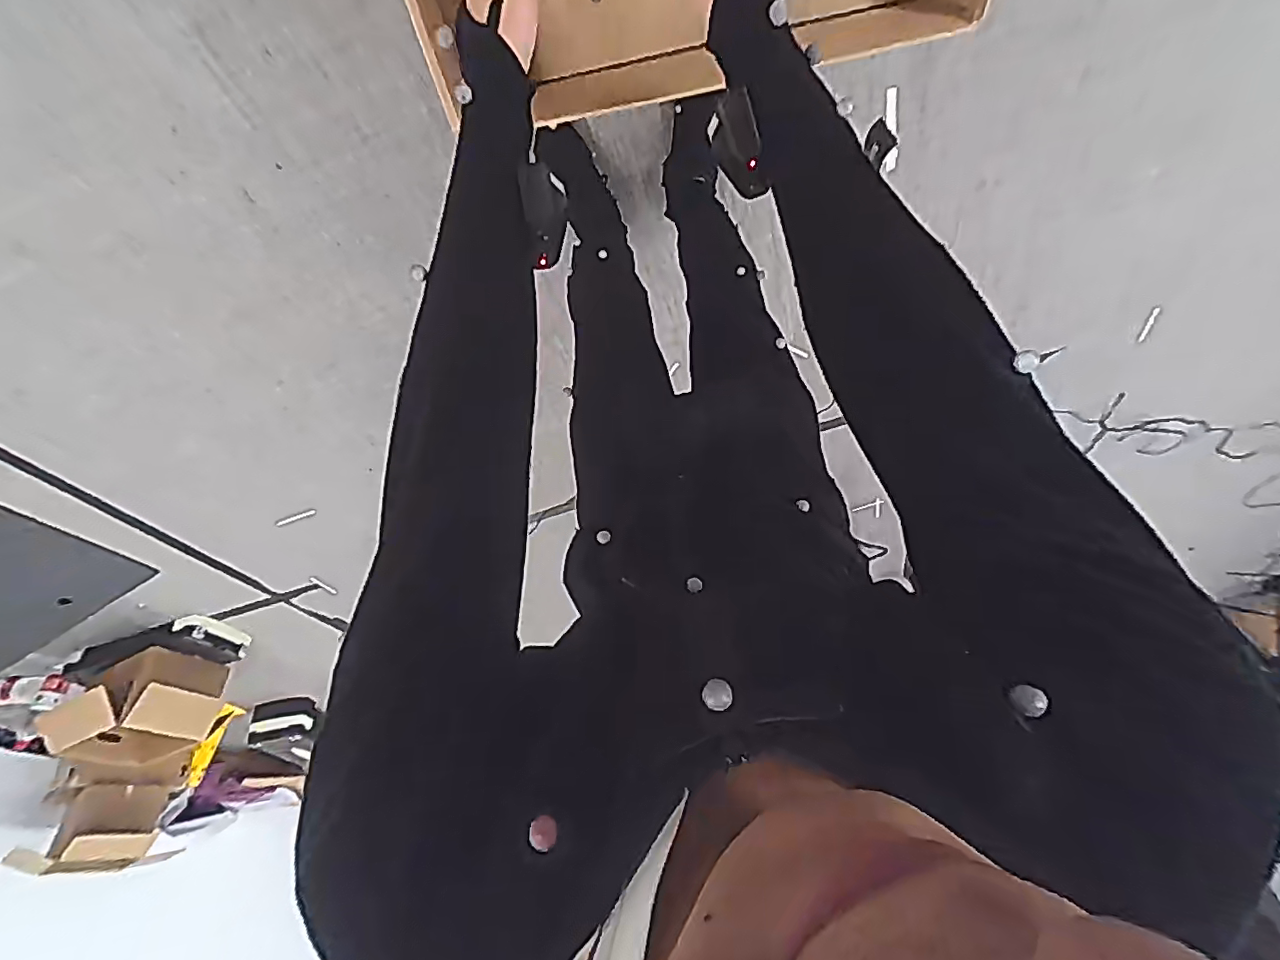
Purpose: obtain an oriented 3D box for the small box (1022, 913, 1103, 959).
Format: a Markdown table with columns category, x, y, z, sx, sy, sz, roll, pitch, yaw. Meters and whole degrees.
| category | x | y | z | sx | sy | sz | roll | pitch | yaw |
| --- | --- | --- | --- | --- | --- | --- | --- | --- | --- |
| small box | 1.505 | 1.662 | 1.924 | 0.179 | 0.176 | 0.168 | -19 | 140 | 10 |
